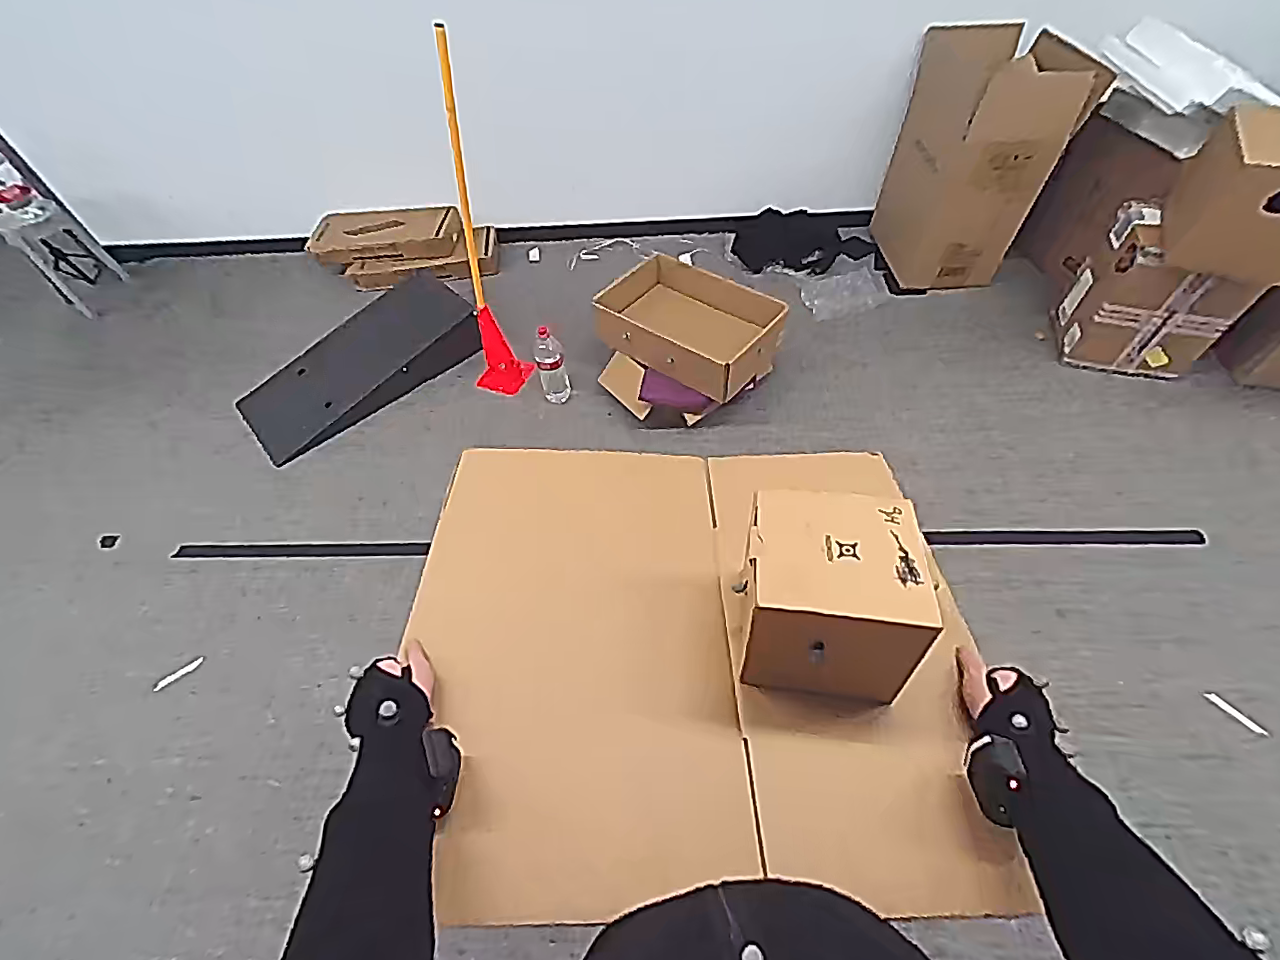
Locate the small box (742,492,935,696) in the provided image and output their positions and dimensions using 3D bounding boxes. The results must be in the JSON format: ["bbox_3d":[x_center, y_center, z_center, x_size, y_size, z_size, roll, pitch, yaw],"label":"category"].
[{"bbox_3d":[0.213,0.134,0.634,0.179,0.176,0.168,4,46,9],"label":"small box"}]
